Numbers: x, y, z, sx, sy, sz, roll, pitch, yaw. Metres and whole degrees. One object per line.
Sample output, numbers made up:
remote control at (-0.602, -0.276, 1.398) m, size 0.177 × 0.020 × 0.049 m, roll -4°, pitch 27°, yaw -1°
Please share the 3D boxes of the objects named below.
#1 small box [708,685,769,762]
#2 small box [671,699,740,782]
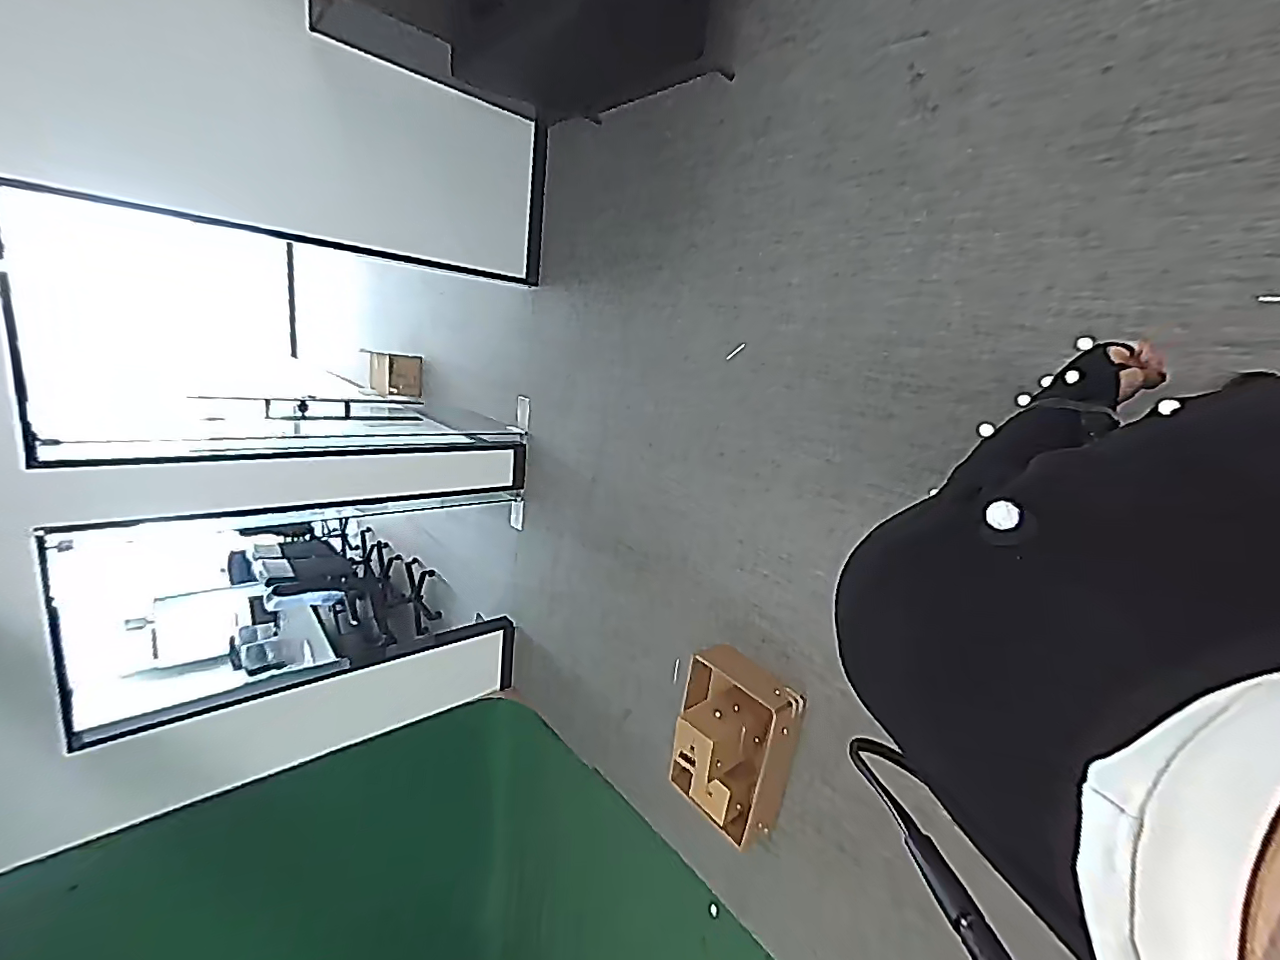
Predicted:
small box at (0.356, 0.899, 2.019) m, size 0.179 × 0.176 × 0.168 m, roll 26°, pitch 113°, yaw 43°
small box at (0.234, 0.913, 1.909) m, size 0.168 × 0.176 × 0.179 m, roll 20°, pitch 109°, yaw 45°
